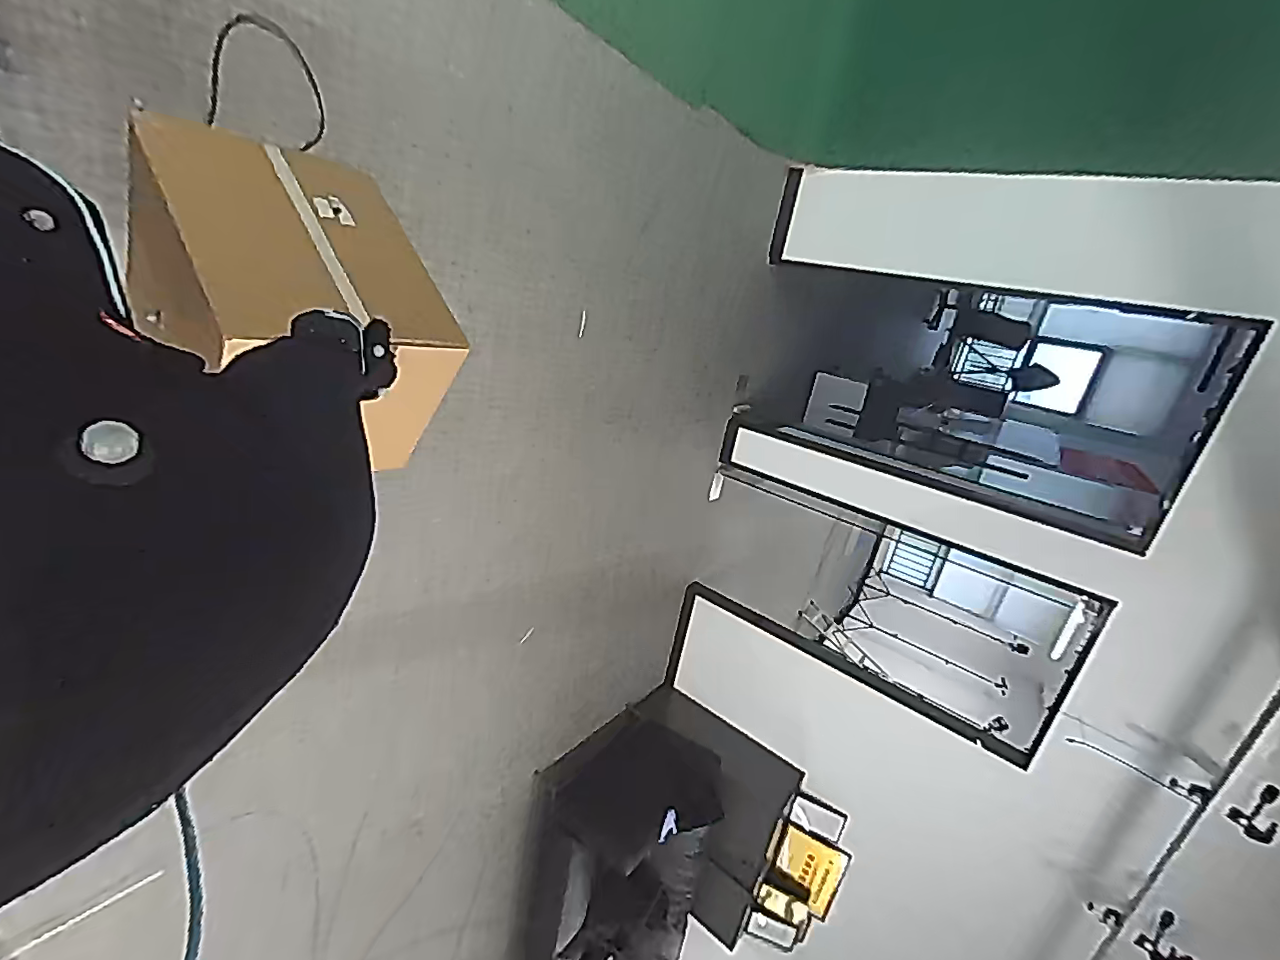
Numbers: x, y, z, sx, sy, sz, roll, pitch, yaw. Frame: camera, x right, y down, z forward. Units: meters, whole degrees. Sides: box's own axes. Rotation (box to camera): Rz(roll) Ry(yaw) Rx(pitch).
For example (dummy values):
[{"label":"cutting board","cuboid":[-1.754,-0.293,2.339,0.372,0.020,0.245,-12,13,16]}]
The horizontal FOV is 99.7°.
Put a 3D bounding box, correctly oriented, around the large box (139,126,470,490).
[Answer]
[{"label":"large box","cuboid":[-0.543,-0.249,0.863,0.320,0.408,0.320,-13,154,-50]}]
